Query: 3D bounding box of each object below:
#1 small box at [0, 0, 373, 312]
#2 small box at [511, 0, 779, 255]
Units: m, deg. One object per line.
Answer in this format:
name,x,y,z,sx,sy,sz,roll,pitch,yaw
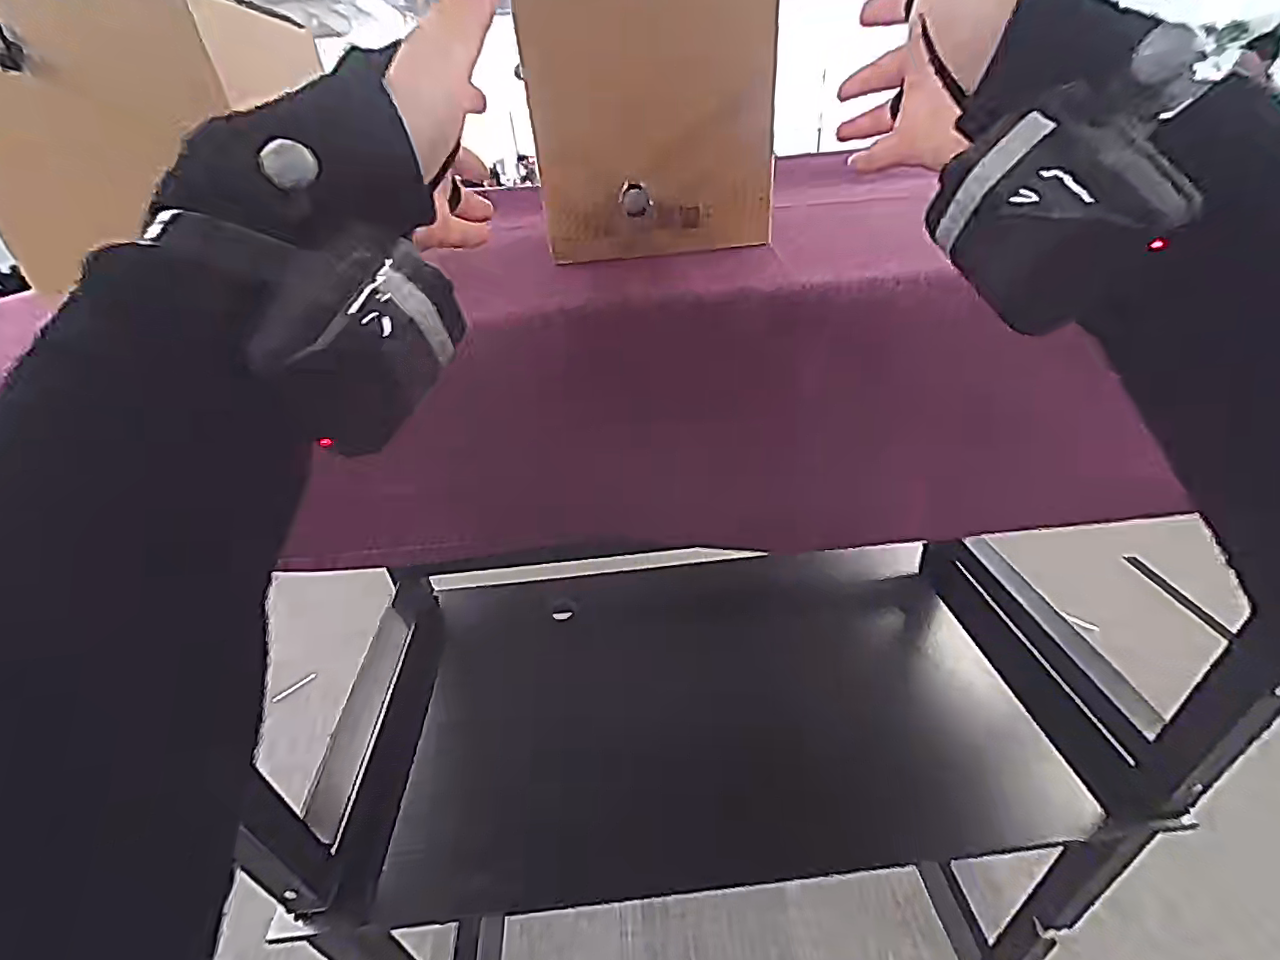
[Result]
small box,-0.318,-0.228,0.388,0.168,0.176,0.179,-7,33,-2
small box,0.003,-0.284,0.427,0.168,0.176,0.179,-6,34,0
